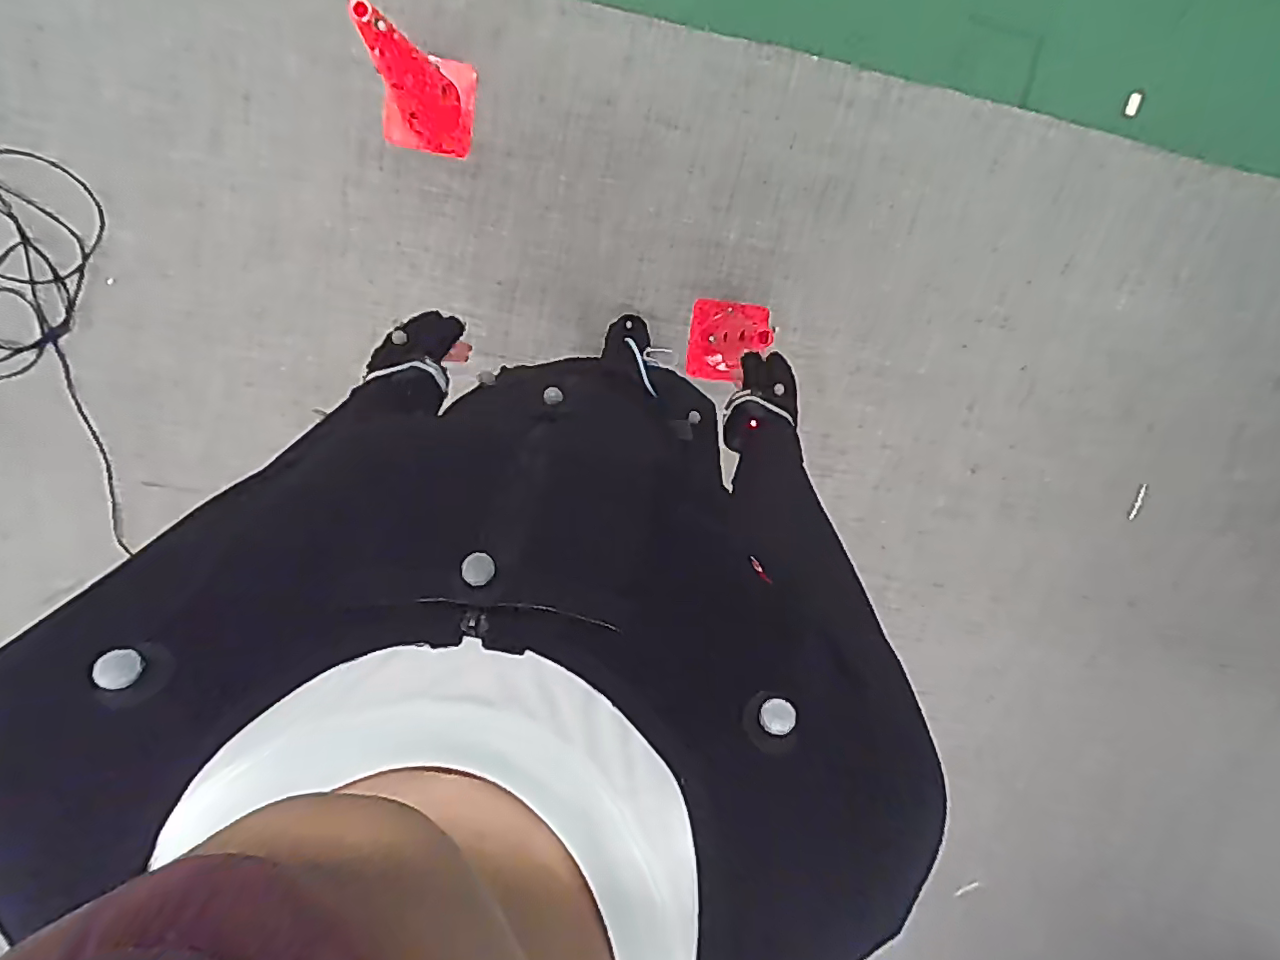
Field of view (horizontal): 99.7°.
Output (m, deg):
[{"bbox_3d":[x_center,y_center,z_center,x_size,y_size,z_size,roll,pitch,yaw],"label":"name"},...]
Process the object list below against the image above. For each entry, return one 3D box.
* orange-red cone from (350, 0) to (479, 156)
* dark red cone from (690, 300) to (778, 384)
[{"bbox_3d":[-0.478,-0.837,1.092,0.198,0.360,0.199,11,103,-4],"label":"orange-red cone"},{"bbox_3d":[0.239,-0.318,1.216,0.202,0.394,0.201,5,101,-3],"label":"dark red cone"}]
